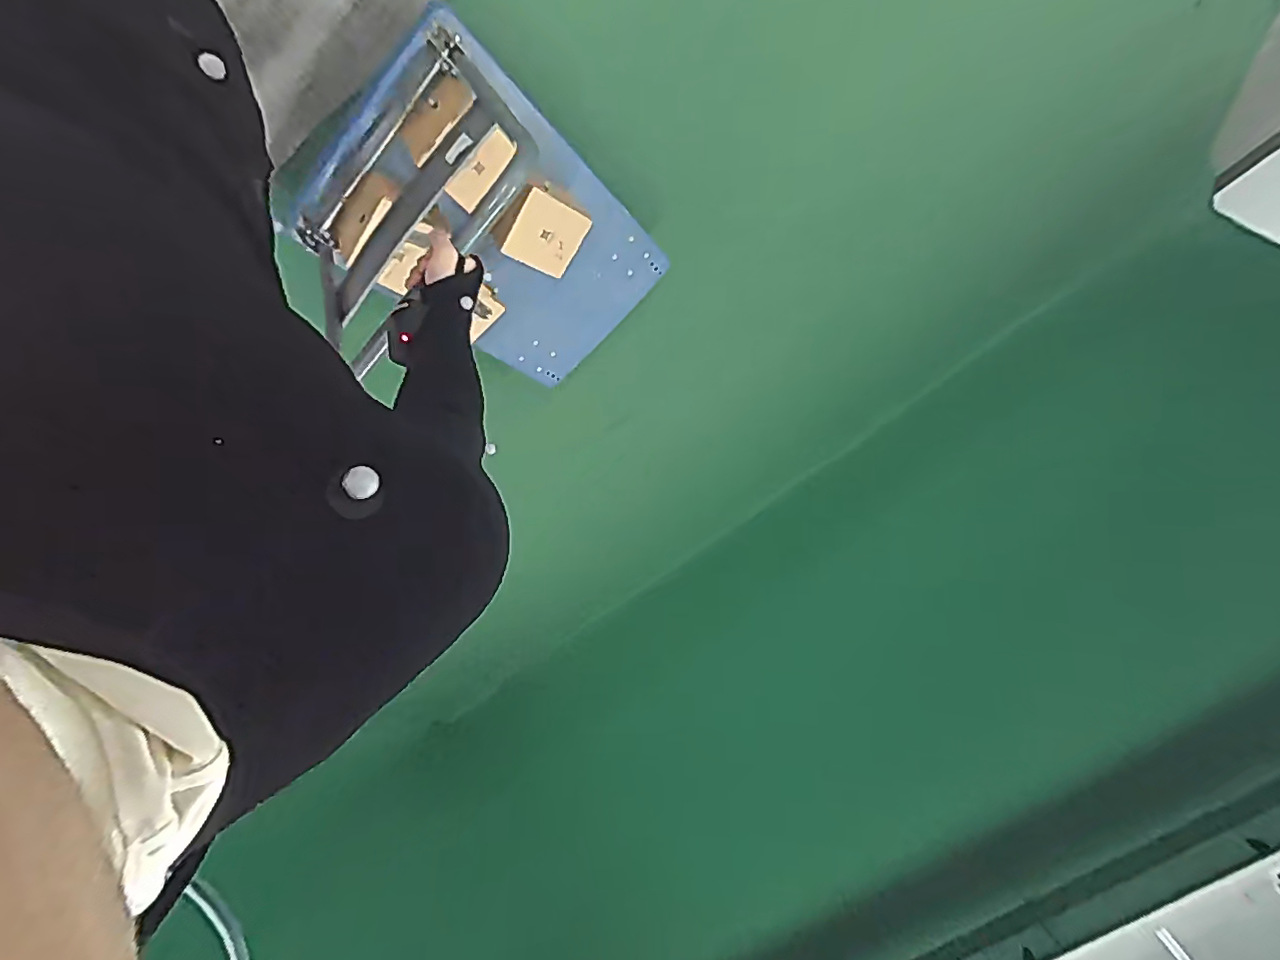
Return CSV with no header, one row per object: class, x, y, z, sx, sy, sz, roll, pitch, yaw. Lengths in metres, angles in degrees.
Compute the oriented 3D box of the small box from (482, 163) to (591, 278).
small box,-0.256,-0.630,1.308,0.179,0.176,0.168,9,131,-45
